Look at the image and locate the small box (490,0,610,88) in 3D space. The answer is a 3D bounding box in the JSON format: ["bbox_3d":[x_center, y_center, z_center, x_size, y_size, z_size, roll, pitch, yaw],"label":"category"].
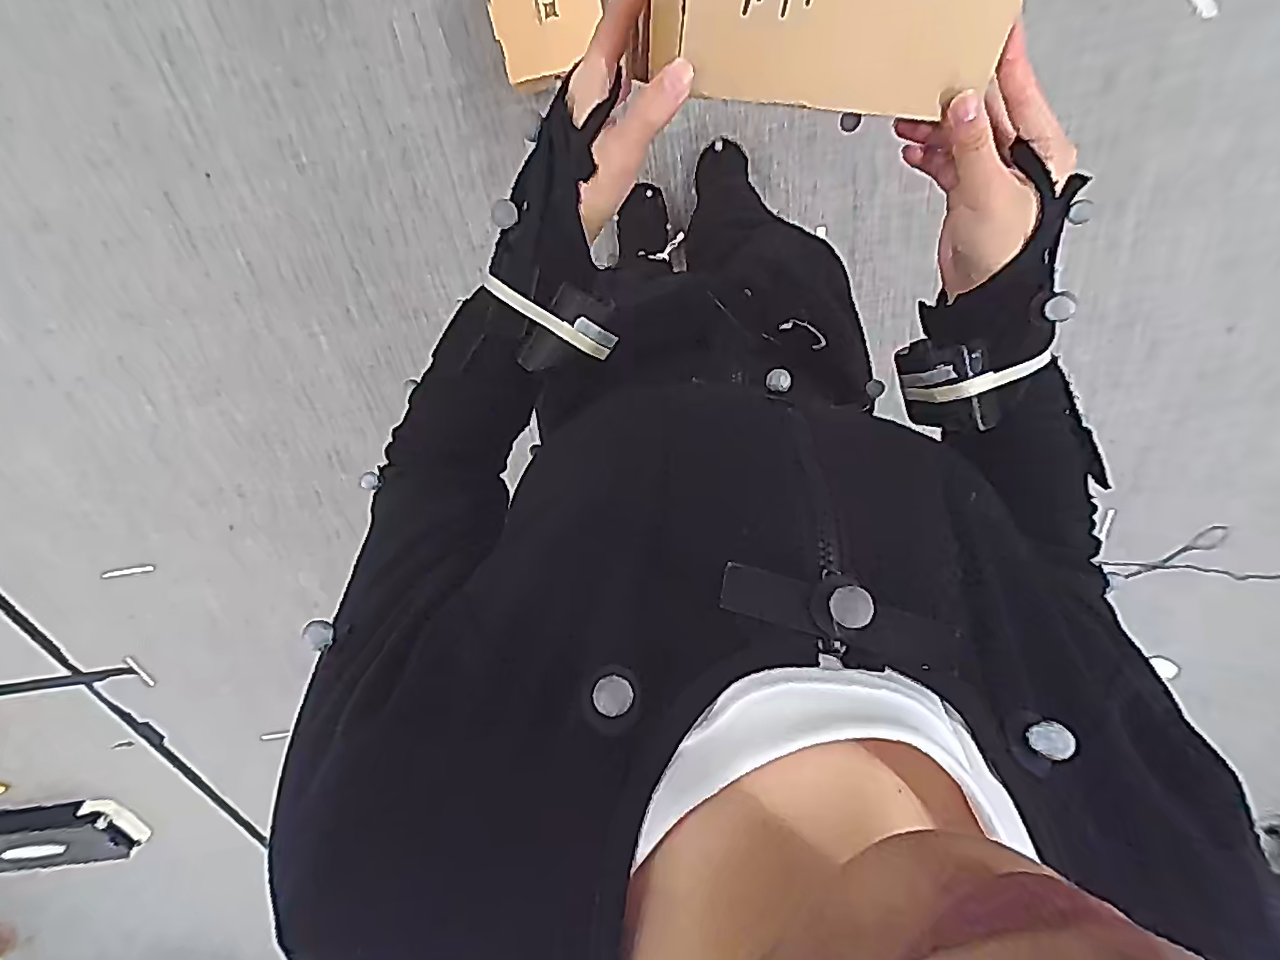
[{"bbox_3d":[-0.153,-0.792,0.926,0.179,0.176,0.168,-10,122,3],"label":"small box"}]
